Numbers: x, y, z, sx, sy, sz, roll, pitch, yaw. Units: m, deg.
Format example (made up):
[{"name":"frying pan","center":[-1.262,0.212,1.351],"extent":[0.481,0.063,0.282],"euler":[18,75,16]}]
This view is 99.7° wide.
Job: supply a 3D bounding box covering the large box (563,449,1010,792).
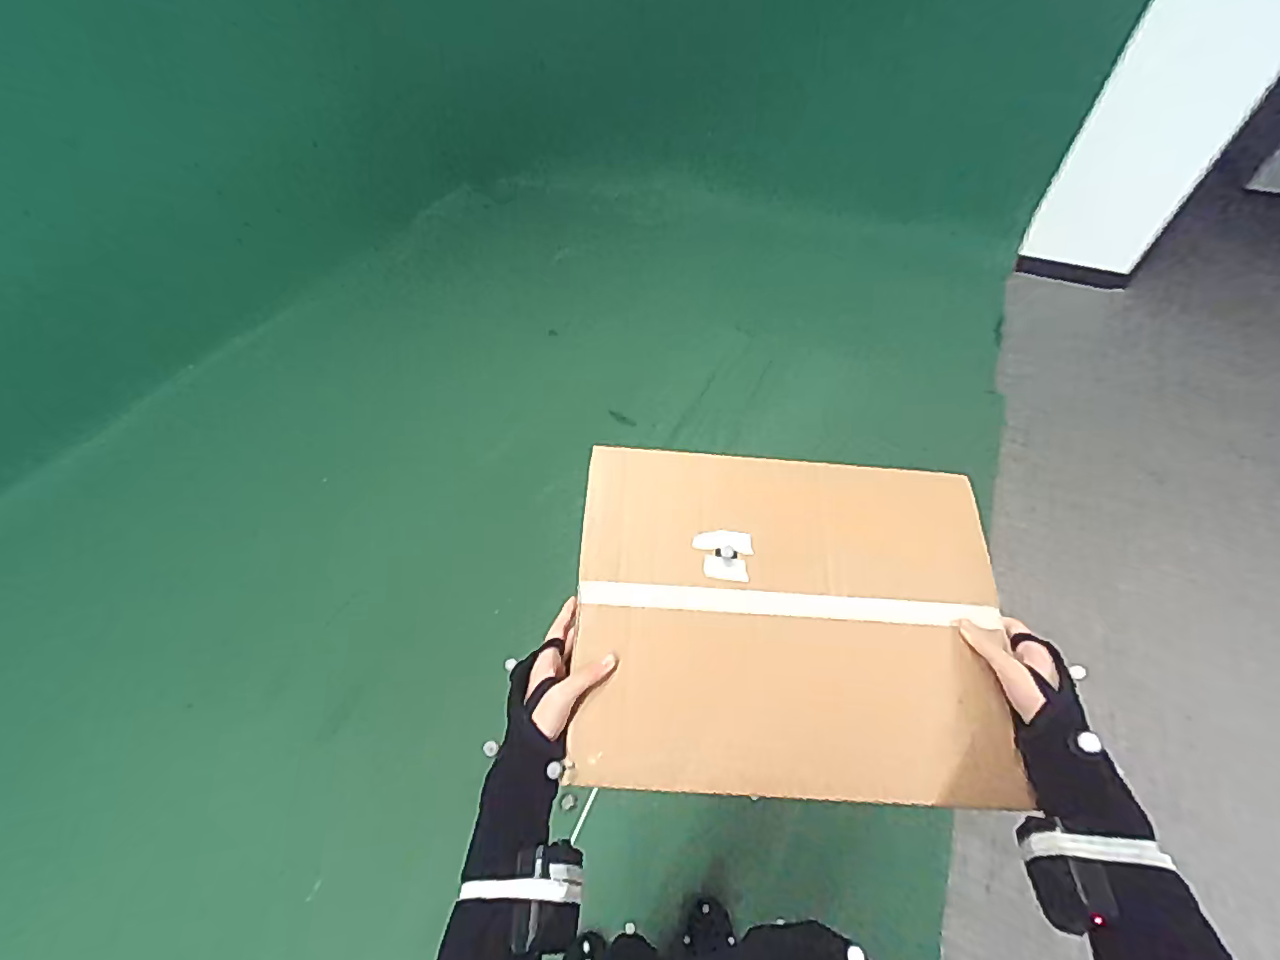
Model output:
[{"name":"large box","center":[0.132,0.175,0.664],"extent":[0.408,0.320,0.320],"euler":[4,67,-1]}]
